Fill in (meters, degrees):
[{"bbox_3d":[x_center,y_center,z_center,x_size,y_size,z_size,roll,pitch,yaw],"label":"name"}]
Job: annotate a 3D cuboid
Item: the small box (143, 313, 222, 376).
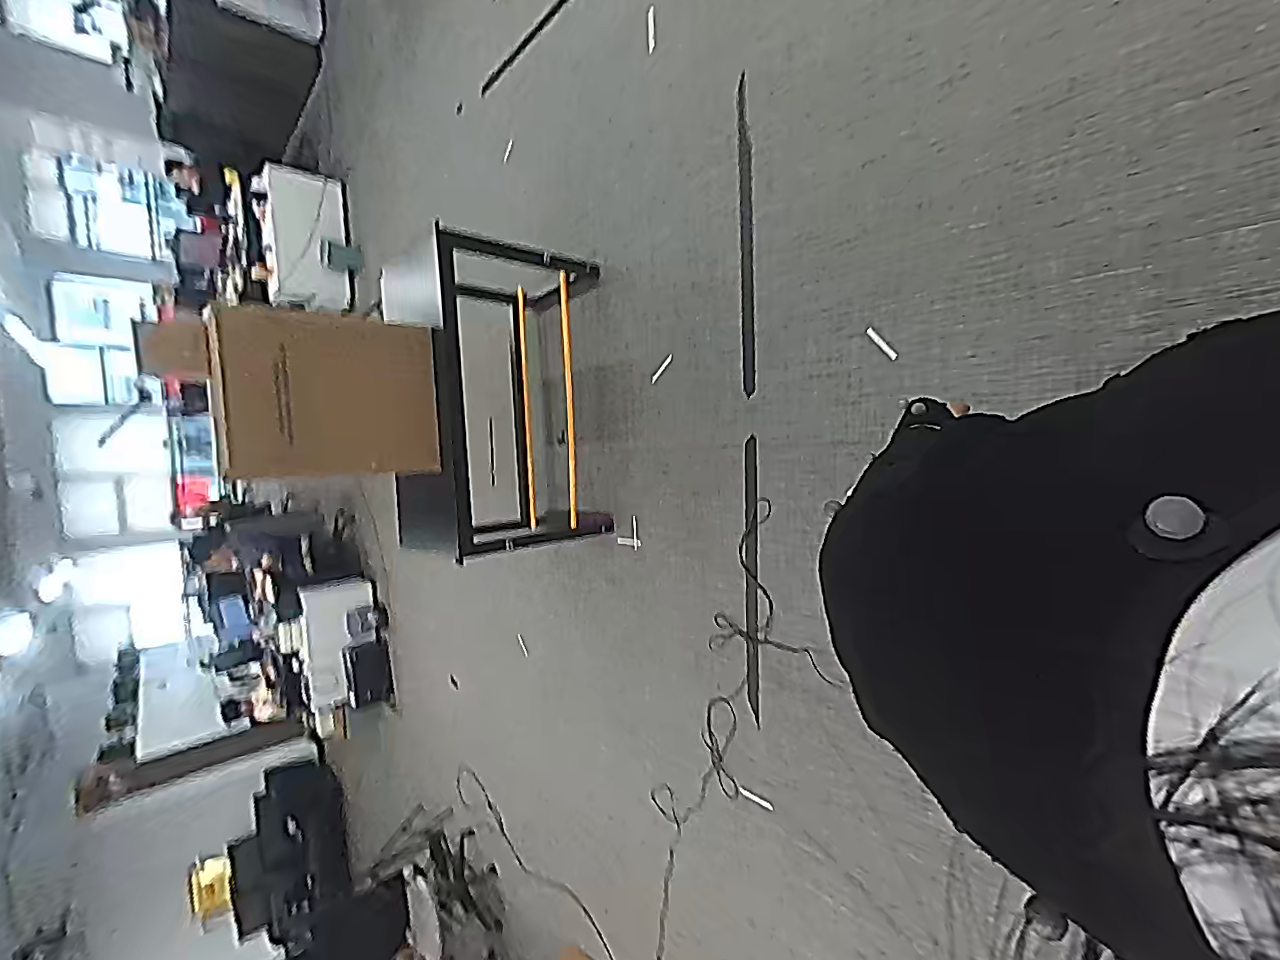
[{"bbox_3d":[-1.403,-0.411,1.665,0.179,0.176,0.168,4,100,49],"label":"small box"}]
